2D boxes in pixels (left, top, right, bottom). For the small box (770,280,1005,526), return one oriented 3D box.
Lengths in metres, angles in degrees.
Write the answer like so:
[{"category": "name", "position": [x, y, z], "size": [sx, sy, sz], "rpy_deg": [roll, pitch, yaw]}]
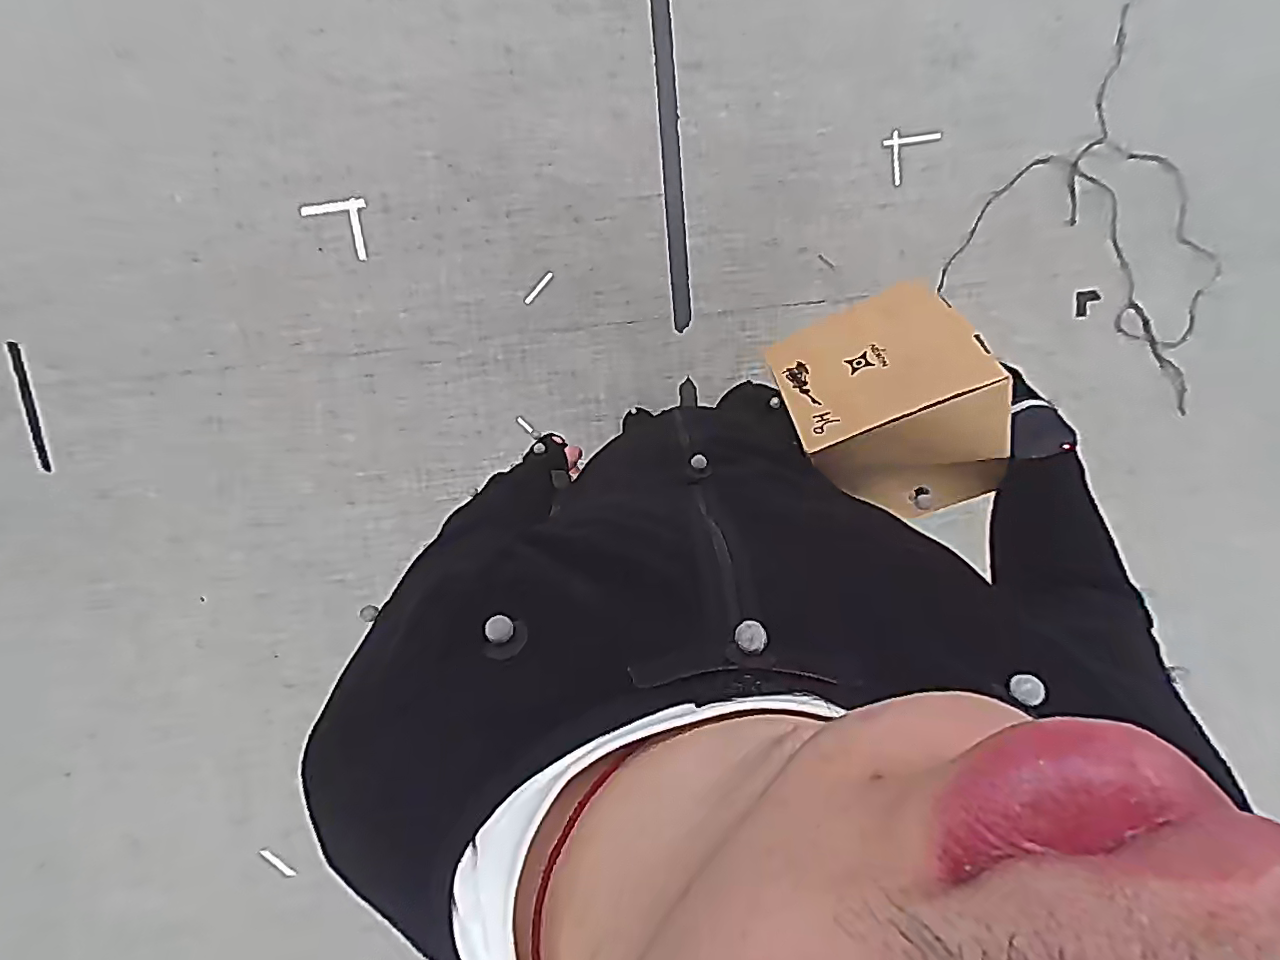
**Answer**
[{"category": "small box", "position": [0.266, -0.076, 0.596], "size": [0.179, 0.168, 0.176], "rpy_deg": [-22, 136, 16]}]
